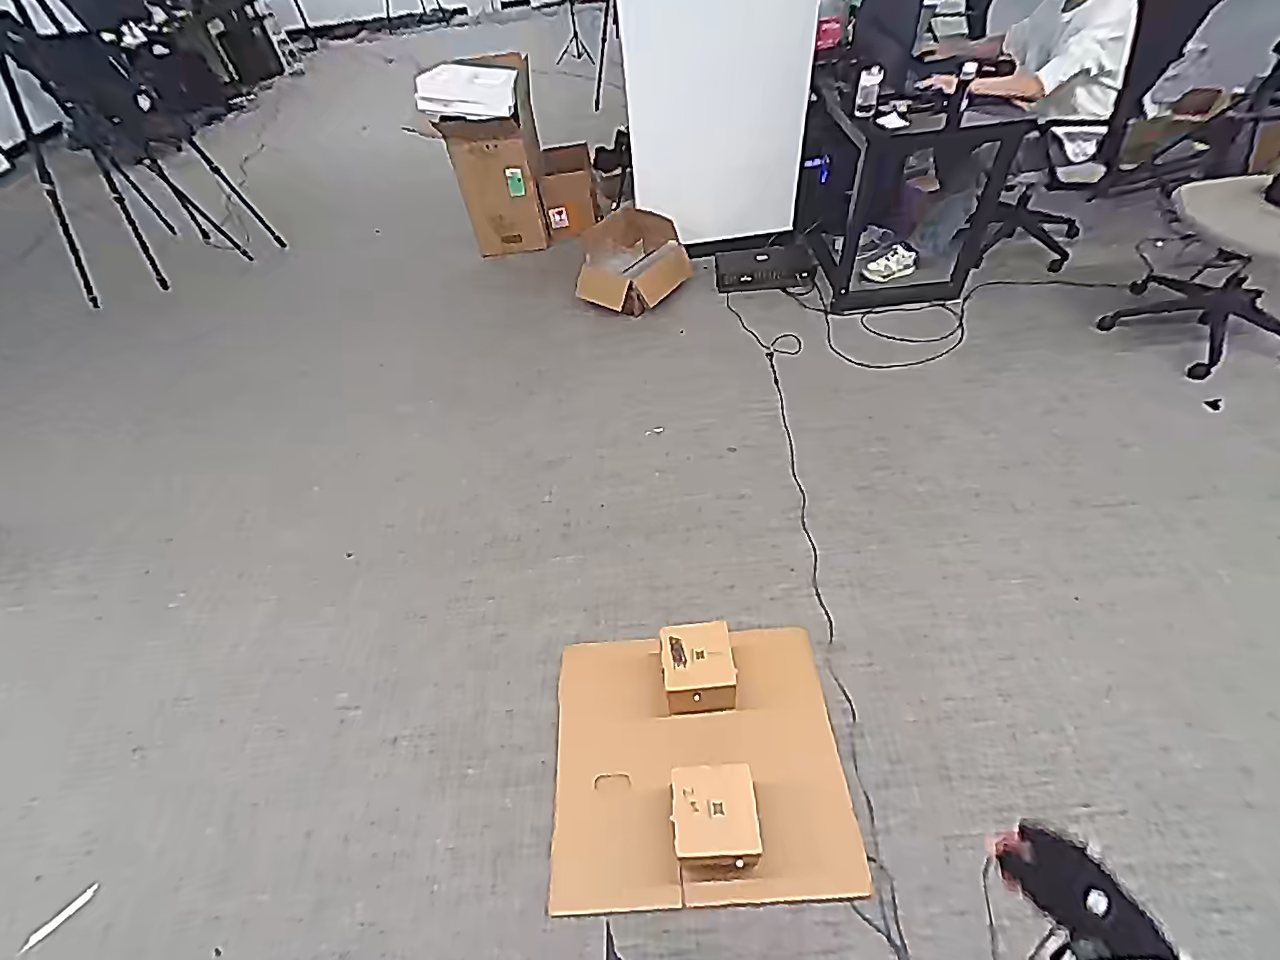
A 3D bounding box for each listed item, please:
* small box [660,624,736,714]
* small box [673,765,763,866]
[{"bbox_3d":[0.151,0.494,1.406,0.179,0.176,0.168,-7,49,3],"label":"small box"},{"bbox_3d":[0.168,0.741,1.191,0.179,0.176,0.168,-6,49,5],"label":"small box"}]
